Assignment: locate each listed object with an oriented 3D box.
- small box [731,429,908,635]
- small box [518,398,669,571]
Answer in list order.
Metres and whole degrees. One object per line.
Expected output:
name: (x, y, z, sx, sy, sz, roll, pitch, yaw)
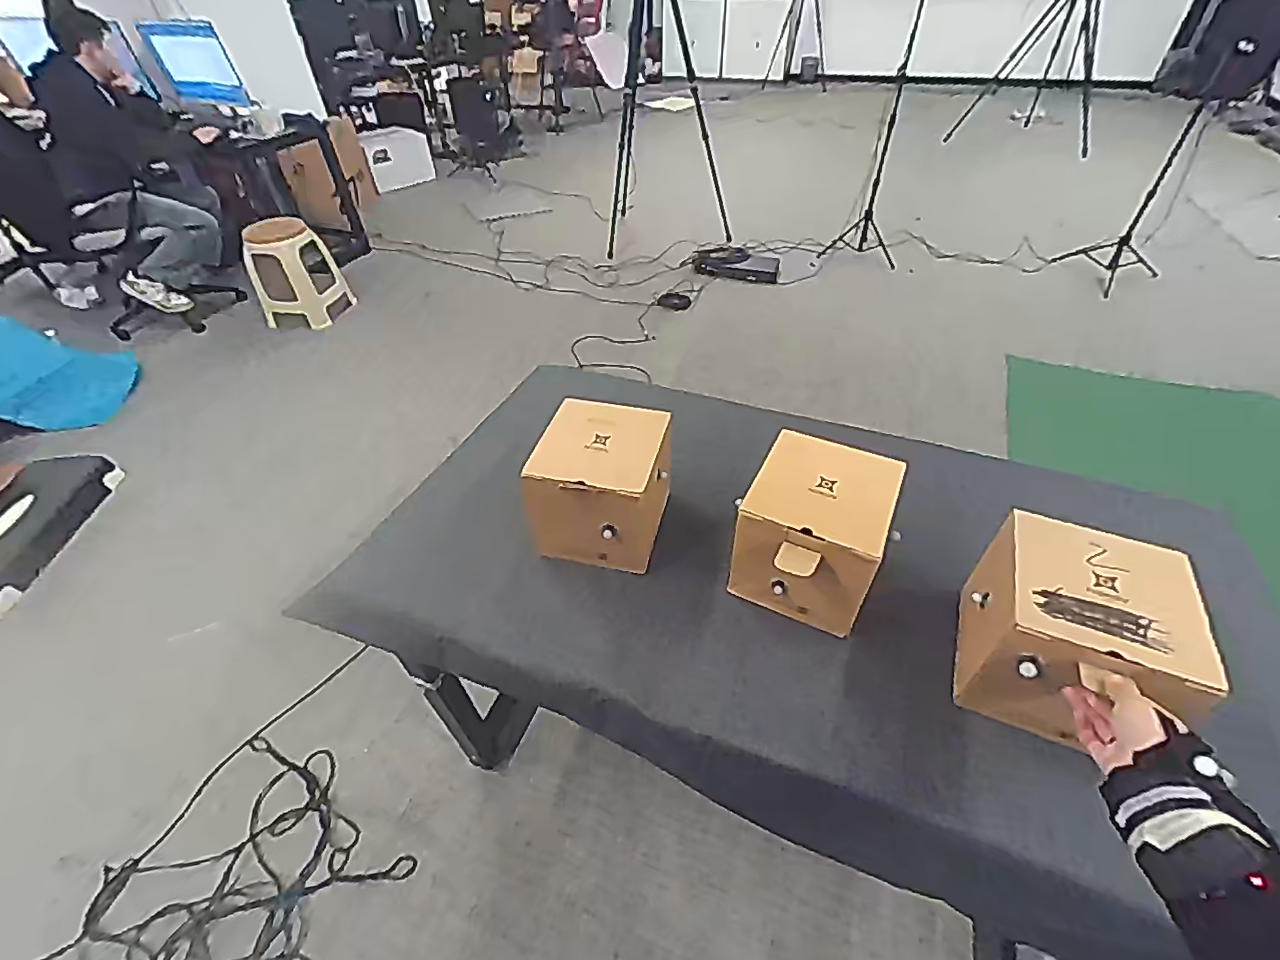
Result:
small box: (0.228, 0.066, 0.711, 0.168, 0.176, 0.179, 20, 48, 21)
small box: (-0.056, 0.006, 0.784, 0.168, 0.176, 0.179, 10, 43, 10)
